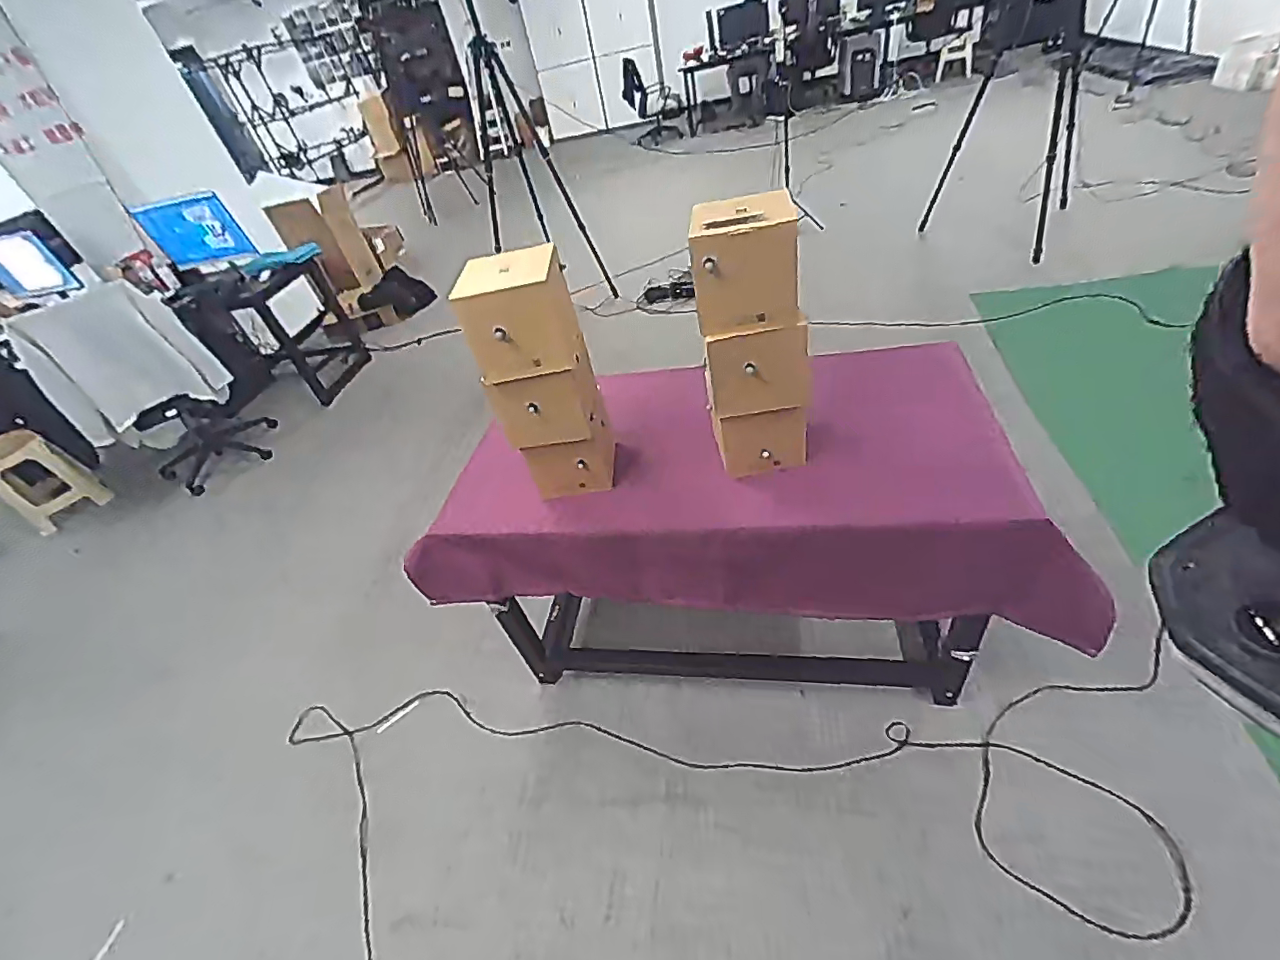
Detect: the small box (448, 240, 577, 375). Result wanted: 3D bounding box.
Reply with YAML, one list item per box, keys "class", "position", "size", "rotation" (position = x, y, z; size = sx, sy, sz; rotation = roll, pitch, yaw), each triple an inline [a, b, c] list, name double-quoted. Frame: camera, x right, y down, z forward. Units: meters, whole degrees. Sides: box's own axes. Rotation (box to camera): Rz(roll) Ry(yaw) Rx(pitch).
- class: "small box"
  position: [-0.216, -0.302, 0.971]
  size: [0.168, 0.176, 0.179]
  rotation: [-10, 41, 6]

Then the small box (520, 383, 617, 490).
- class: "small box"
  position: [-0.152, -0.090, 1.214]
  size: [0.168, 0.176, 0.179]
  rotation: [-7, 41, 9]

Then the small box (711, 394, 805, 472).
- class: "small box"
  position: [0.243, -0.142, 1.142]
  size: [0.168, 0.176, 0.179]
  rotation: [-12, 41, 5]

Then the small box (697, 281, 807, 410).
- class: "small box"
  position: [0.211, -0.248, 1.020]
  size: [0.179, 0.176, 0.168]
  rotation: [-8, 42, 9]

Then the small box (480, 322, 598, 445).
- class: "small box"
  position: [-0.191, -0.191, 1.088]
  size: [0.179, 0.176, 0.168]
  rotation: [-8, 42, 9]
